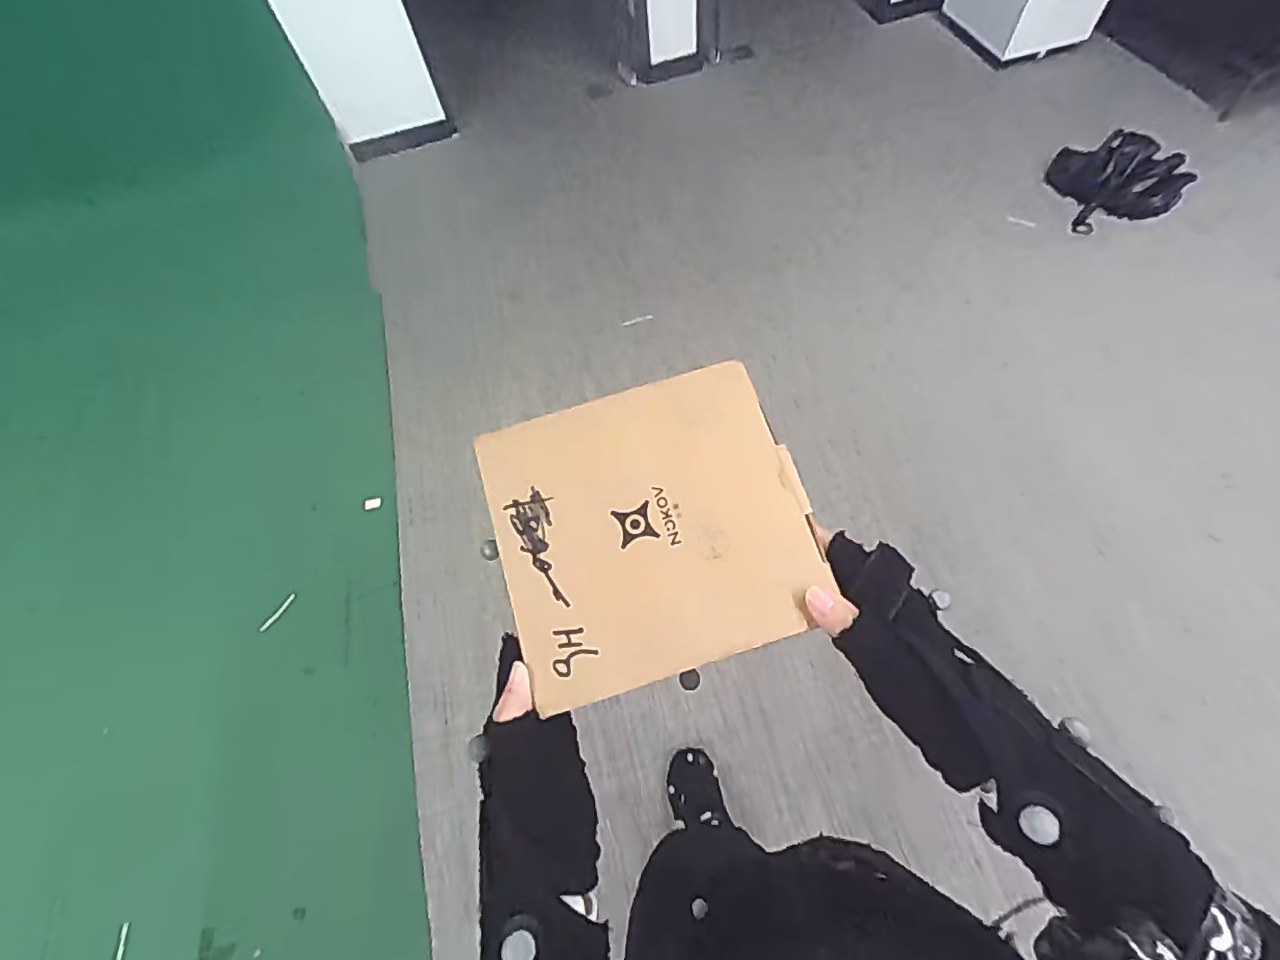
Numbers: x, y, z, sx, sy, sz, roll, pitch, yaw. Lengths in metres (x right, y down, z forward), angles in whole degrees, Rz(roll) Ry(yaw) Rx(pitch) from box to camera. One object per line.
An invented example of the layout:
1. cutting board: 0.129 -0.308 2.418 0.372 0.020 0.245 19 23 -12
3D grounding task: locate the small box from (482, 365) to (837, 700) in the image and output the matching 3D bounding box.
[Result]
1. small box: 0.006 0.046 0.392 0.179 0.176 0.168 -16 71 -5
